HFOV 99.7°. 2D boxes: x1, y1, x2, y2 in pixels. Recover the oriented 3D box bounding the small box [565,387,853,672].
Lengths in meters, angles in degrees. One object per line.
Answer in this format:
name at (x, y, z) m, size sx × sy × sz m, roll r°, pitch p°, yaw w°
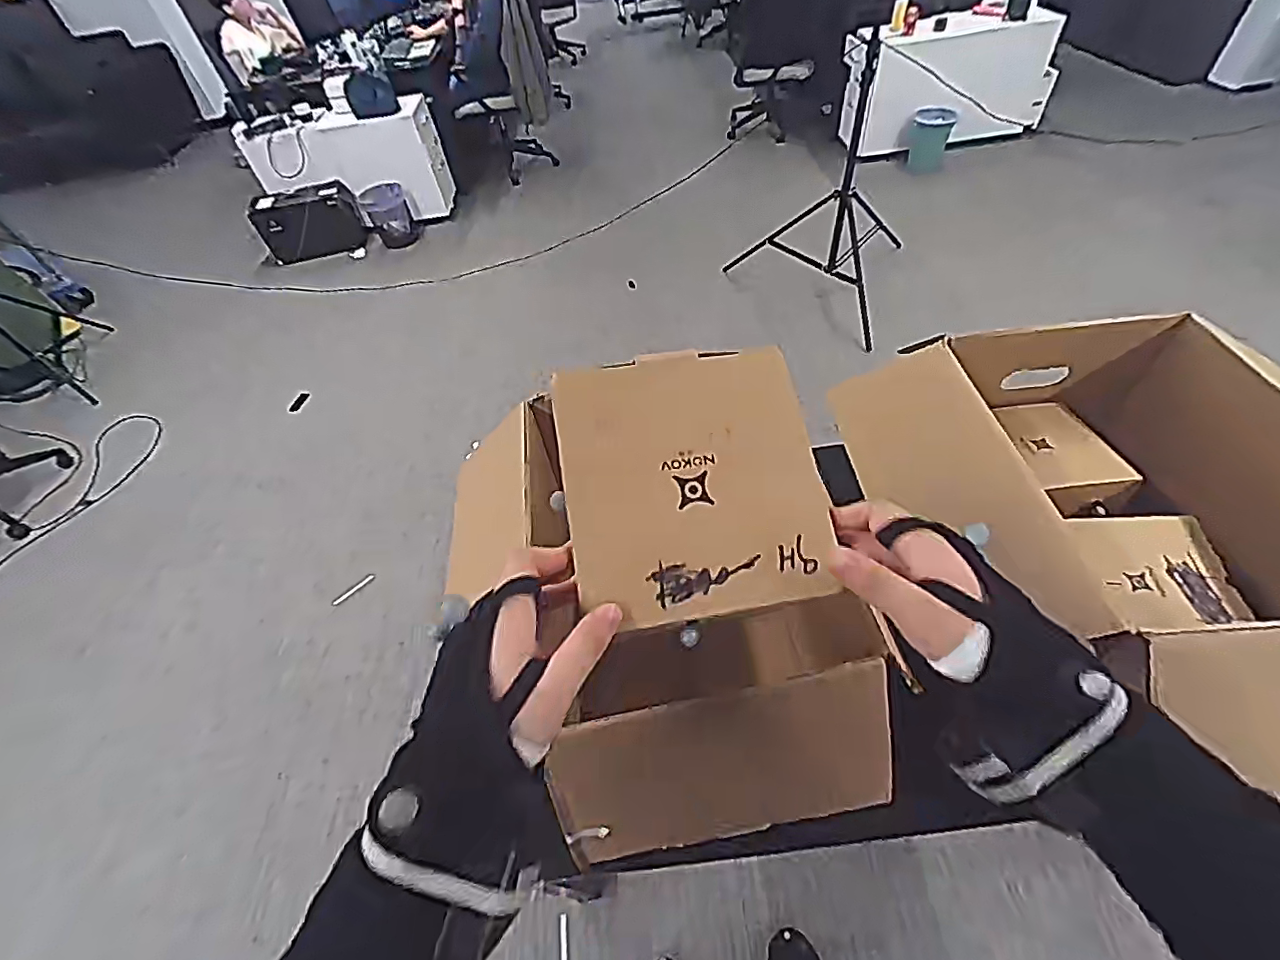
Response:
small box at (0.035, 0.050, 0.432) m, size 0.168 × 0.176 × 0.179 m, roll -9°, pitch 72°, yaw -6°
